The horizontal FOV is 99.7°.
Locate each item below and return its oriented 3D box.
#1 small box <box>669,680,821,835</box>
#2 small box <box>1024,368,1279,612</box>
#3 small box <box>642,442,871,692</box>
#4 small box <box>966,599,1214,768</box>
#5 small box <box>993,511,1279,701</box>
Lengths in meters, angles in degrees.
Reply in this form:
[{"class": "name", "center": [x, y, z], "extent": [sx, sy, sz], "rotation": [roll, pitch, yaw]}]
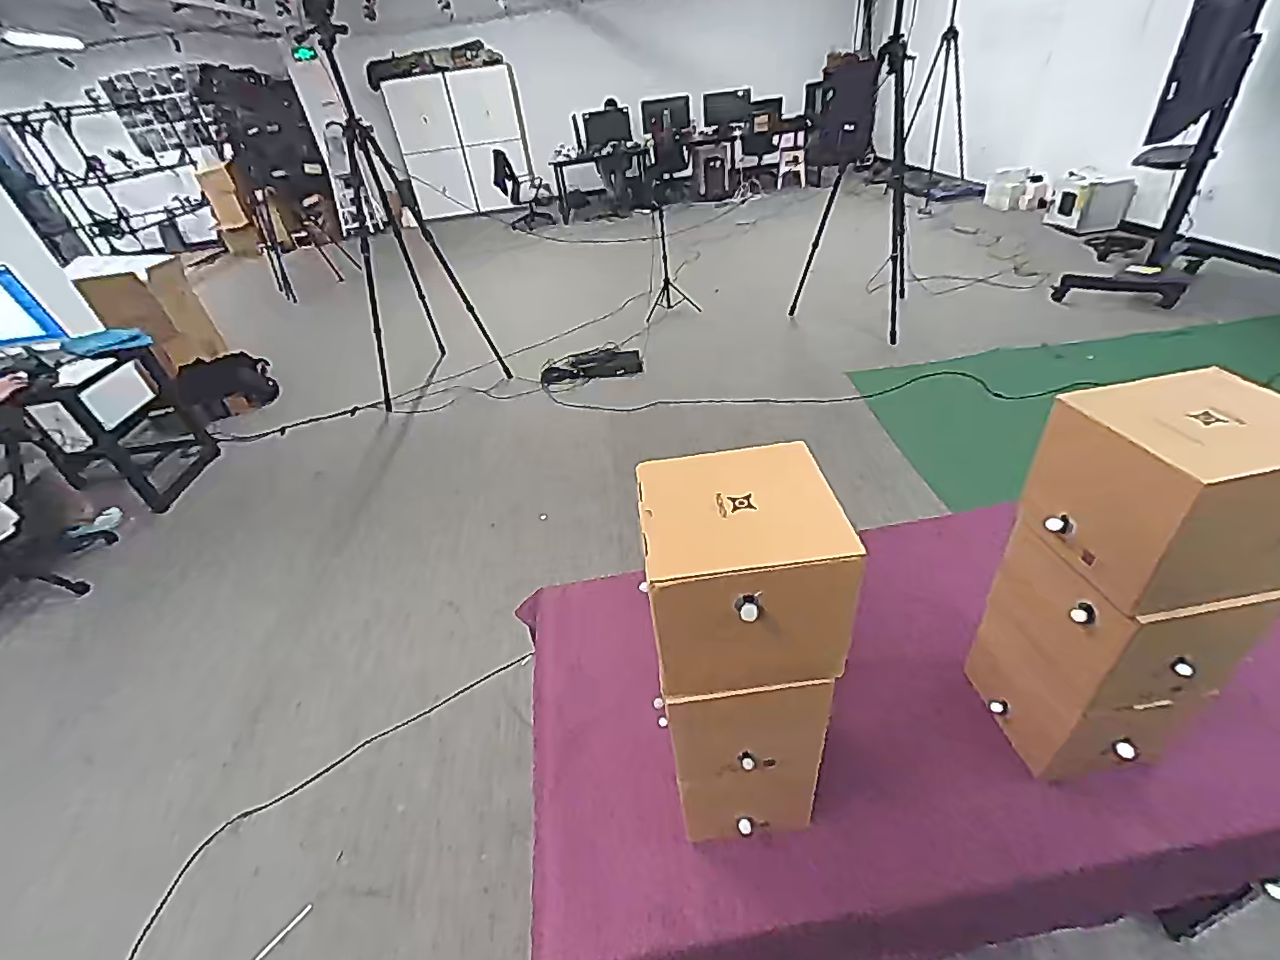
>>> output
[{"class": "small box", "center": [0.129, 0.345, 0.733], "extent": [0.168, 0.176, 0.179], "rotation": [-8, 38, 0]}, {"class": "small box", "center": [0.542, 0.009, 0.548], "extent": [0.179, 0.176, 0.168], "rotation": [-10, 36, -1]}, {"class": "small box", "center": [0.101, 0.086, 0.535], "extent": [0.179, 0.176, 0.168], "rotation": [-8, 38, 2]}, {"class": "small box", "center": [0.590, 0.270, 0.741], "extent": [0.168, 0.176, 0.179], "rotation": [-9, 38, -1]}, {"class": "small box", "center": [0.566, 0.140, 0.642], "extent": [0.168, 0.176, 0.179], "rotation": [-9, 37, -1]}]
